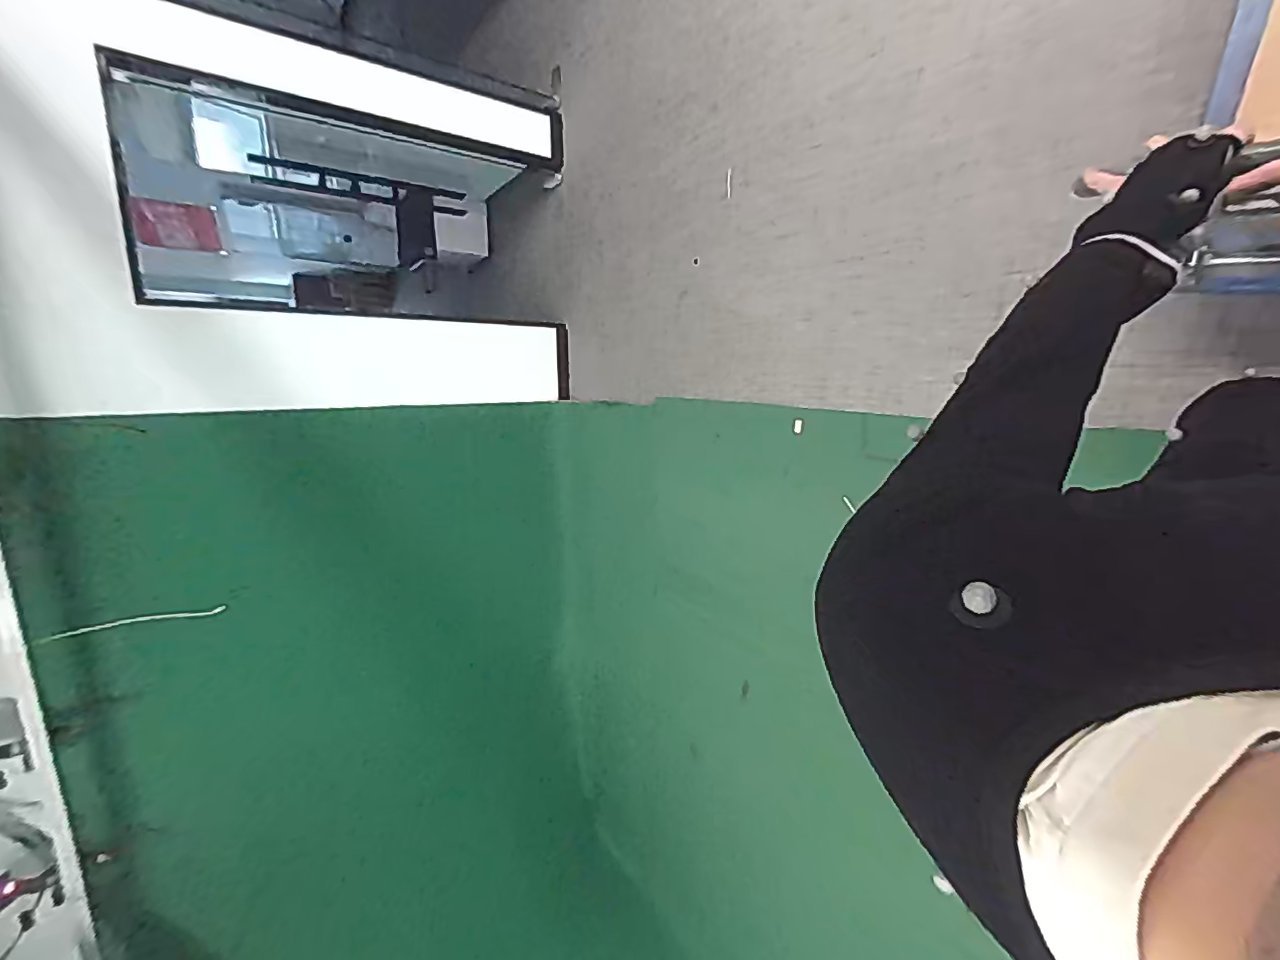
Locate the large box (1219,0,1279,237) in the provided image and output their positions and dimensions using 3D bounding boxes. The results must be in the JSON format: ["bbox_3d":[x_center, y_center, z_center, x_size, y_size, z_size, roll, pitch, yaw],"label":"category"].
[{"bbox_3d":[1.073,-0.577,0.714,0.320,0.320,0.408,23,113,51],"label":"large box"}]
